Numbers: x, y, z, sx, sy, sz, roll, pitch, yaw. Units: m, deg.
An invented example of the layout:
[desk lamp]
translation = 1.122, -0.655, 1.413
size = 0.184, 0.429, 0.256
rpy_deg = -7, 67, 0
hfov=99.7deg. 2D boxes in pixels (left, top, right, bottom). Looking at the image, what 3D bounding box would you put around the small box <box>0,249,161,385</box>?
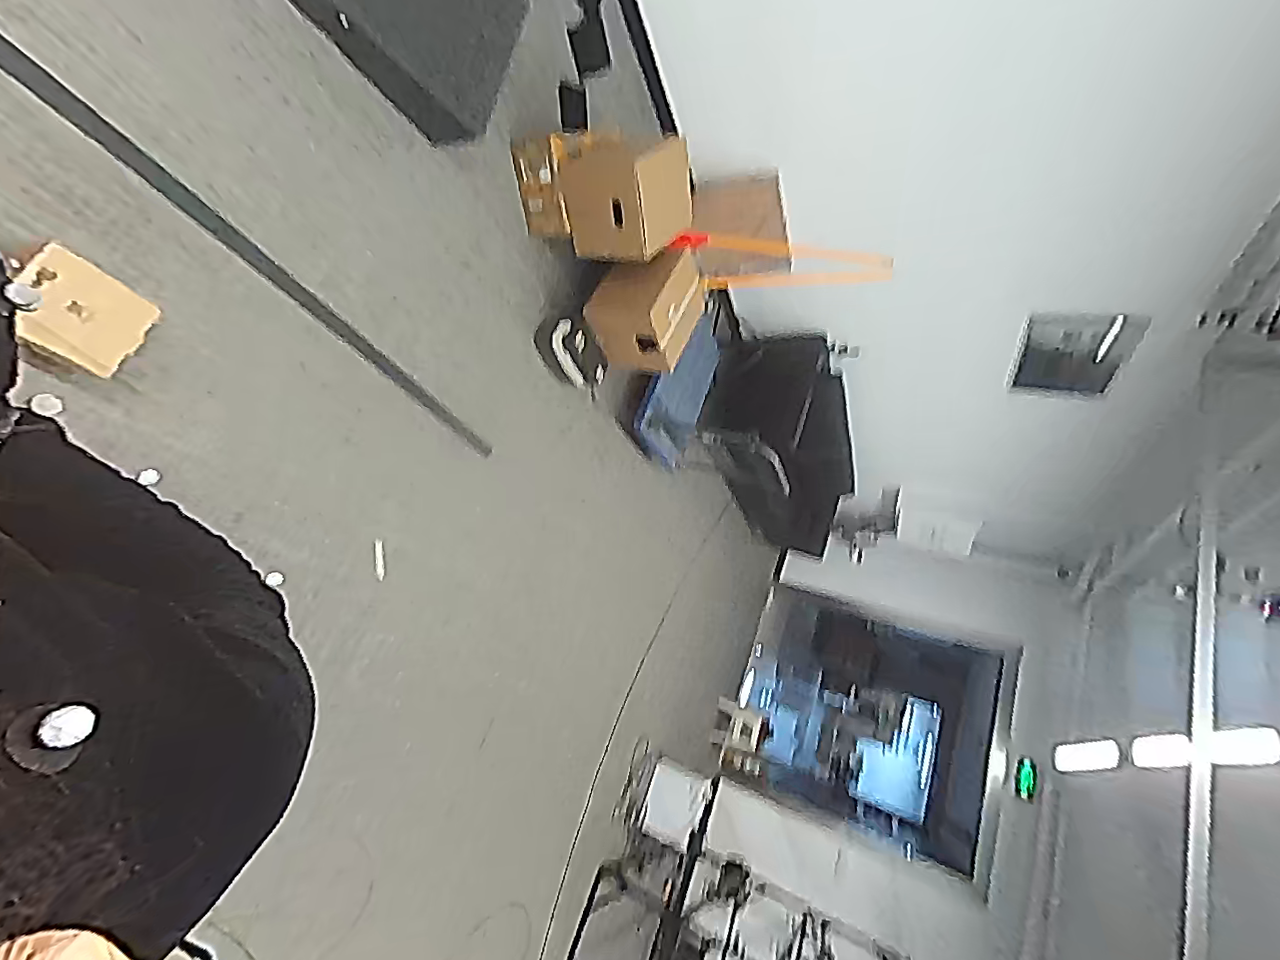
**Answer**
[small box]
translation = -1.052, -0.298, 0.984
size = 0.168, 0.176, 0.179
rpy_deg = -68, 151, -19
